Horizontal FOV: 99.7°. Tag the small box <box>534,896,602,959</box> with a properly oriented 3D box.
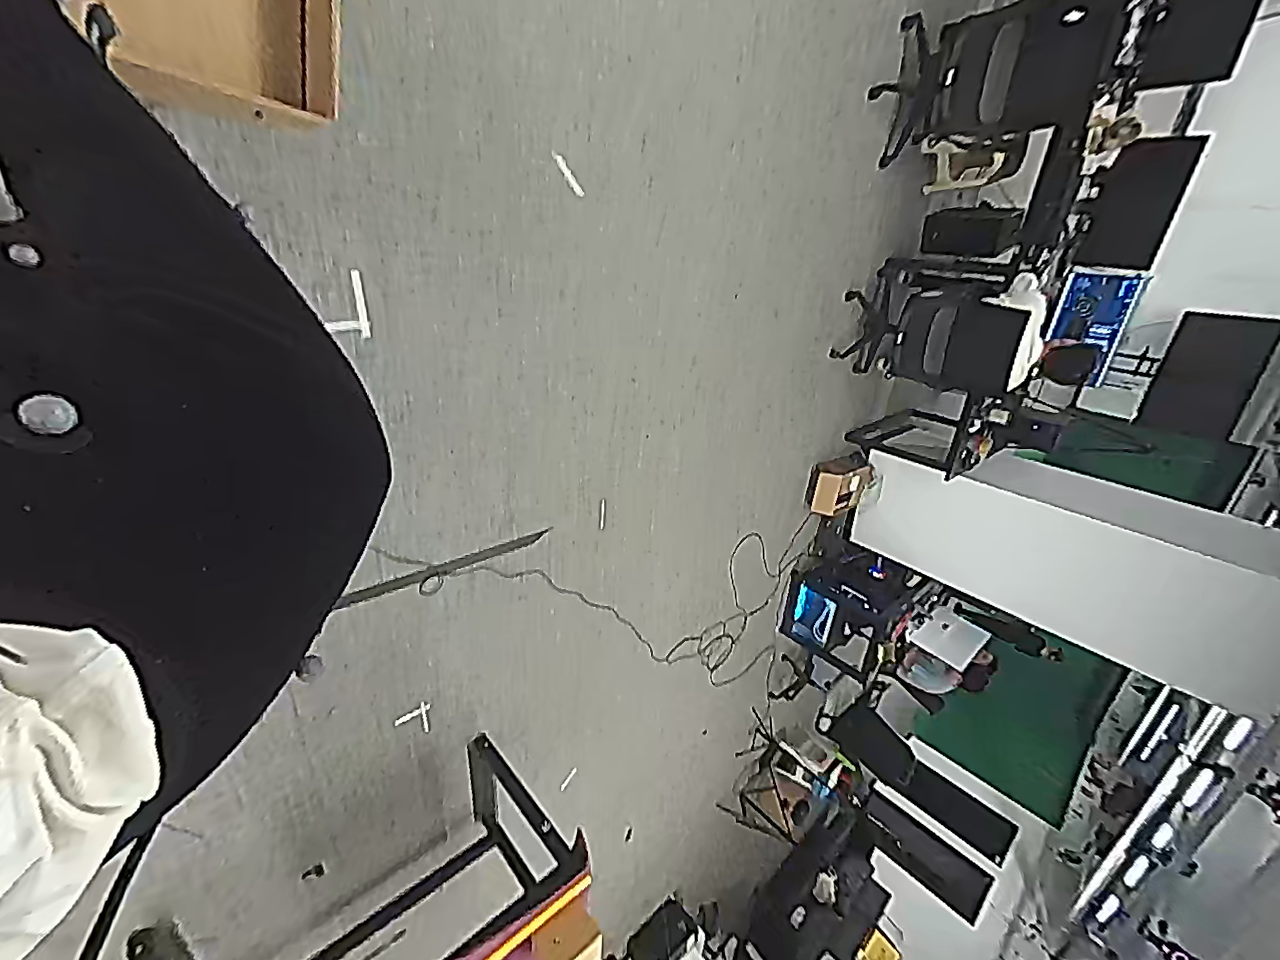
[{"bbox_3d":[-0.247,1.574,1.821,0.179,0.176,0.168,-16,121,-37],"label":"small box"}]
